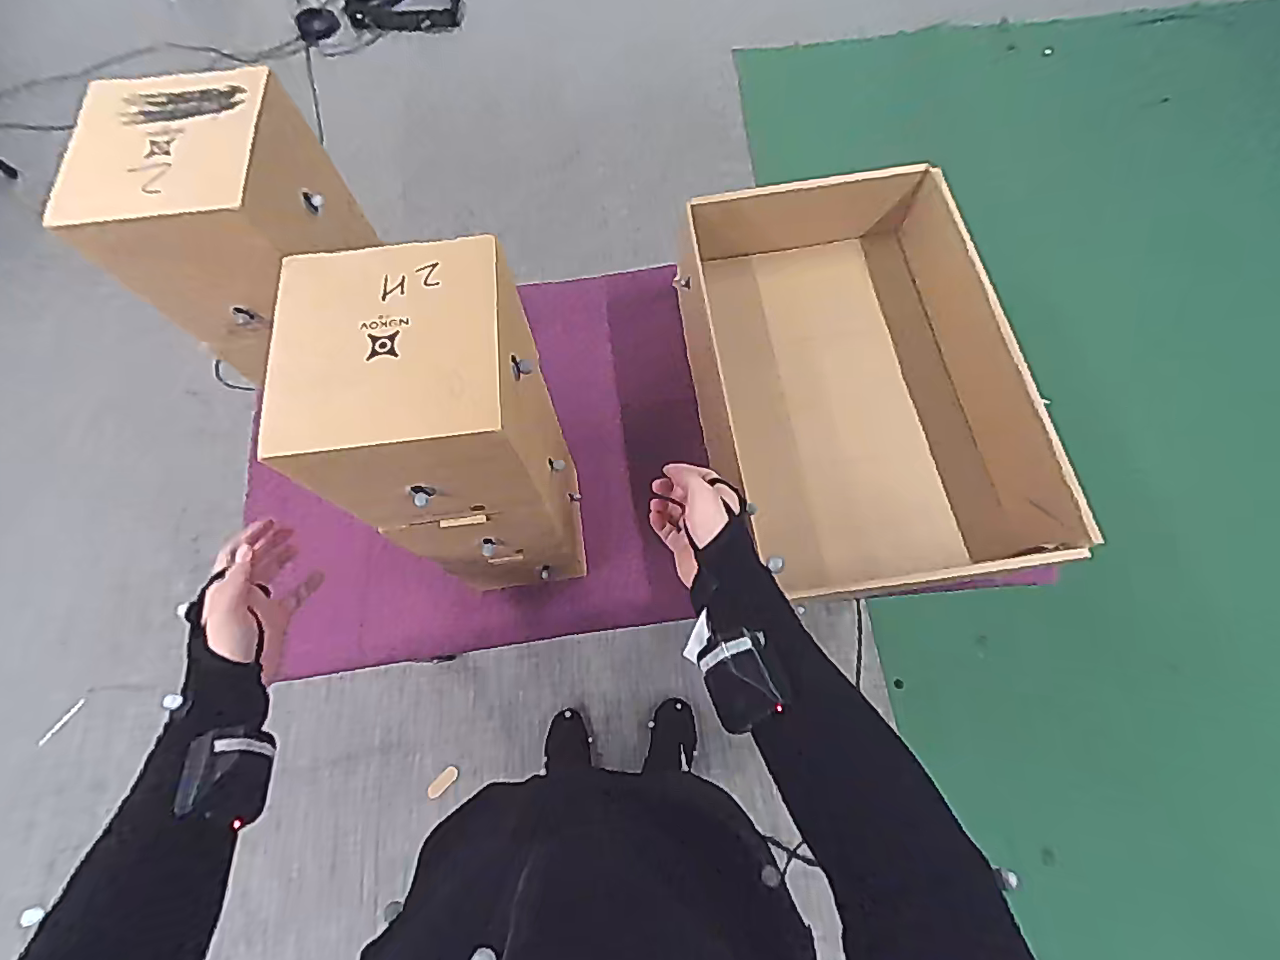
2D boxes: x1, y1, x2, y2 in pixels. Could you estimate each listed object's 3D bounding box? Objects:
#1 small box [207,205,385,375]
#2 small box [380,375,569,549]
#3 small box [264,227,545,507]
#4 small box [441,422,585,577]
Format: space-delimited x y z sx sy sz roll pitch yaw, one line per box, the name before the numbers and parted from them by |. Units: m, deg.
small box | -0.401 -0.219 0.700 0.168 0.176 0.179 -5 70 0
small box | -0.178 -0.023 0.623 0.168 0.176 0.179 -7 70 -2
small box | -0.179 -0.082 0.467 0.168 0.176 0.179 -6 69 -2
small box | -0.173 0.036 0.774 0.168 0.176 0.179 -7 69 -1
